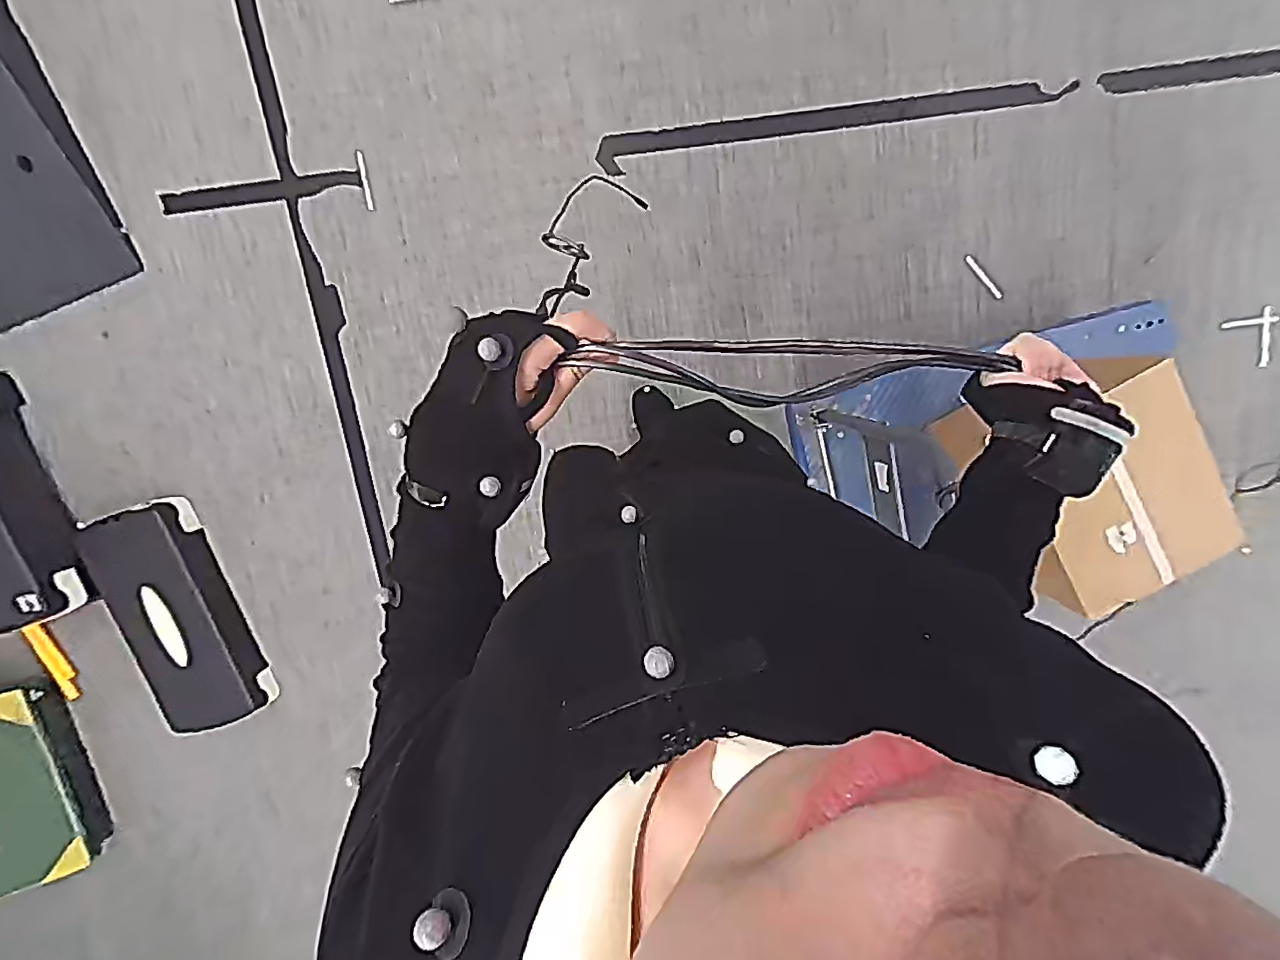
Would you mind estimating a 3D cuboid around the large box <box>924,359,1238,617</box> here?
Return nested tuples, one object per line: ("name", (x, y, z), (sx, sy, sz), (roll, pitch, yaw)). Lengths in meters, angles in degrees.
("large box", (0.894, -0.003, 1.145), (0.320, 0.320, 0.408), (-30, 100, 7))
